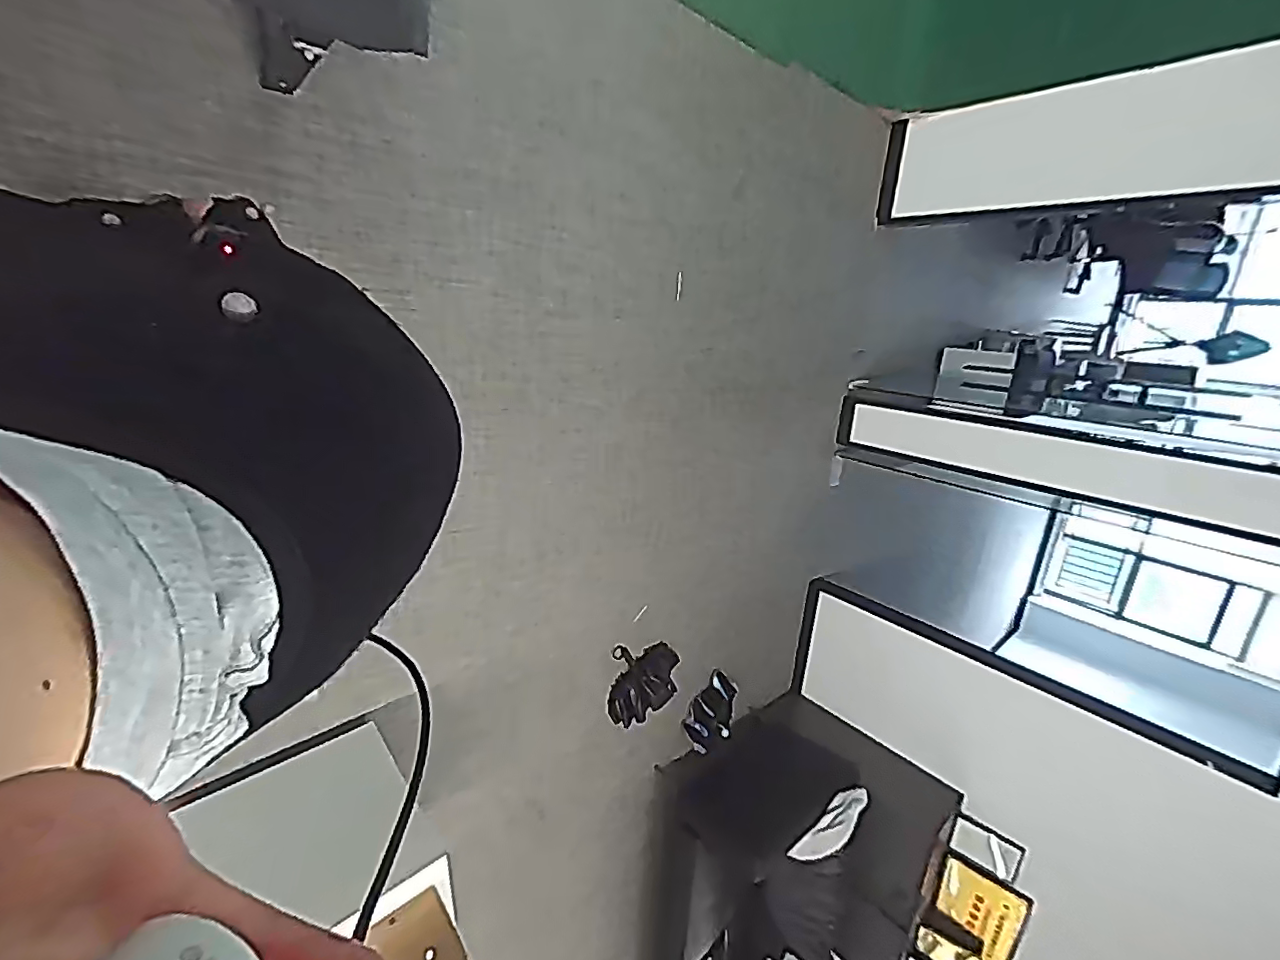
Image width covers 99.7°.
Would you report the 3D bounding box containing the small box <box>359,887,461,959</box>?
[{"bbox_3d":[-0.507,1.071,1.204,0.168,0.176,0.179,-15,117,-39],"label":"small box"}]
